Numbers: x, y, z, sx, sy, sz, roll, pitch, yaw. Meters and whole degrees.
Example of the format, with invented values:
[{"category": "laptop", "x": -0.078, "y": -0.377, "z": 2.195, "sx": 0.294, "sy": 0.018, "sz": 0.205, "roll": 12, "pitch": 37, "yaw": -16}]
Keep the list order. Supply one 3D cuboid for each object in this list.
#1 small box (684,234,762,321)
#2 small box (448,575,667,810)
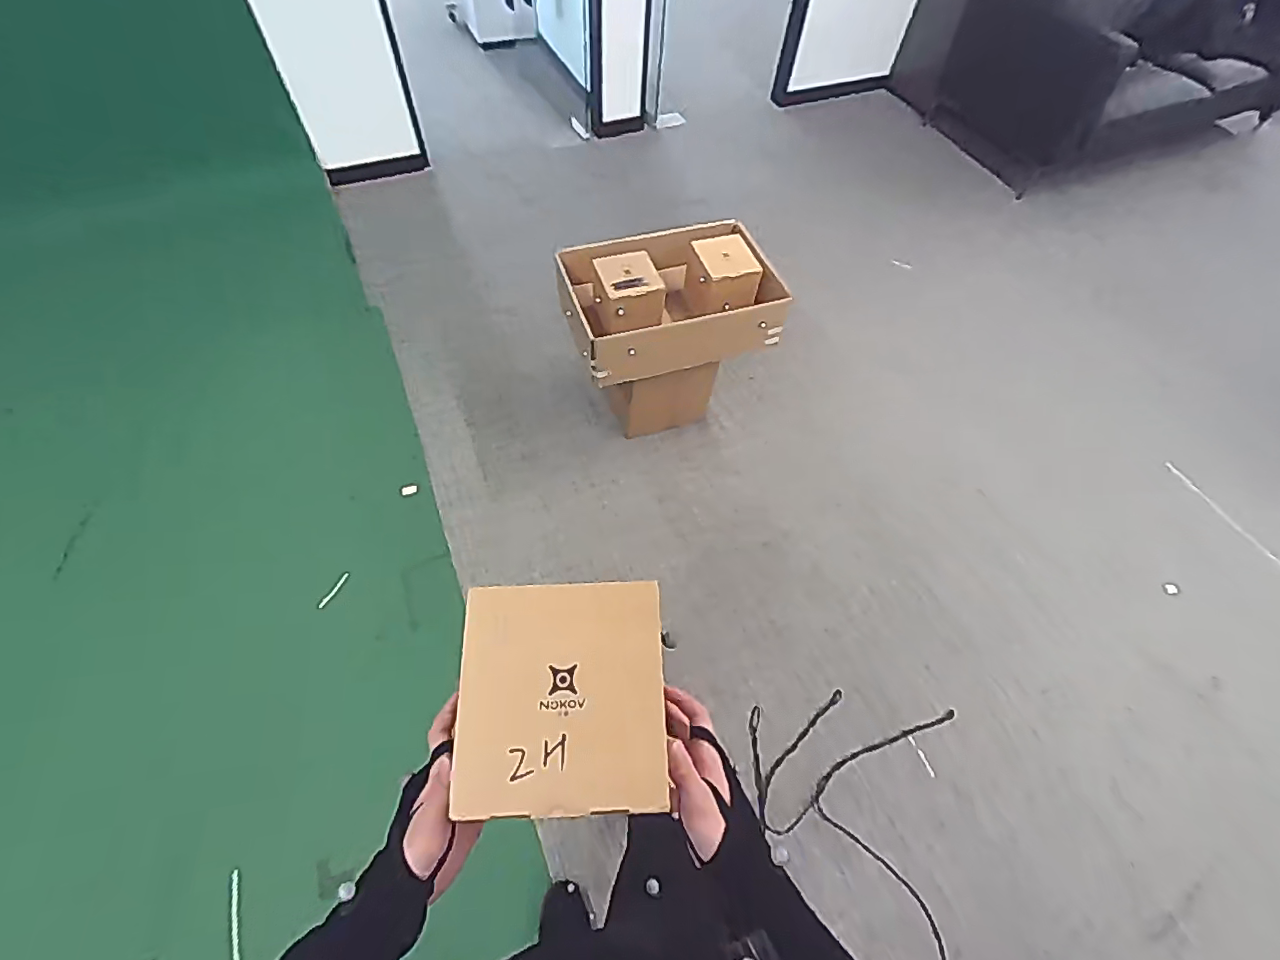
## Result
[{"category": "small box", "x": 0.246, "y": -0.620, "z": 1.662, "sx": 0.168, "sy": 0.176, "sz": 0.179, "roll": -16, "pitch": 62, "yaw": -13}, {"category": "small box", "x": -0.064, "y": 0.197, "z": 0.507, "sx": 0.168, "sy": 0.176, "sz": 0.179, "roll": -2, "pitch": 66, "yaw": 0}]
